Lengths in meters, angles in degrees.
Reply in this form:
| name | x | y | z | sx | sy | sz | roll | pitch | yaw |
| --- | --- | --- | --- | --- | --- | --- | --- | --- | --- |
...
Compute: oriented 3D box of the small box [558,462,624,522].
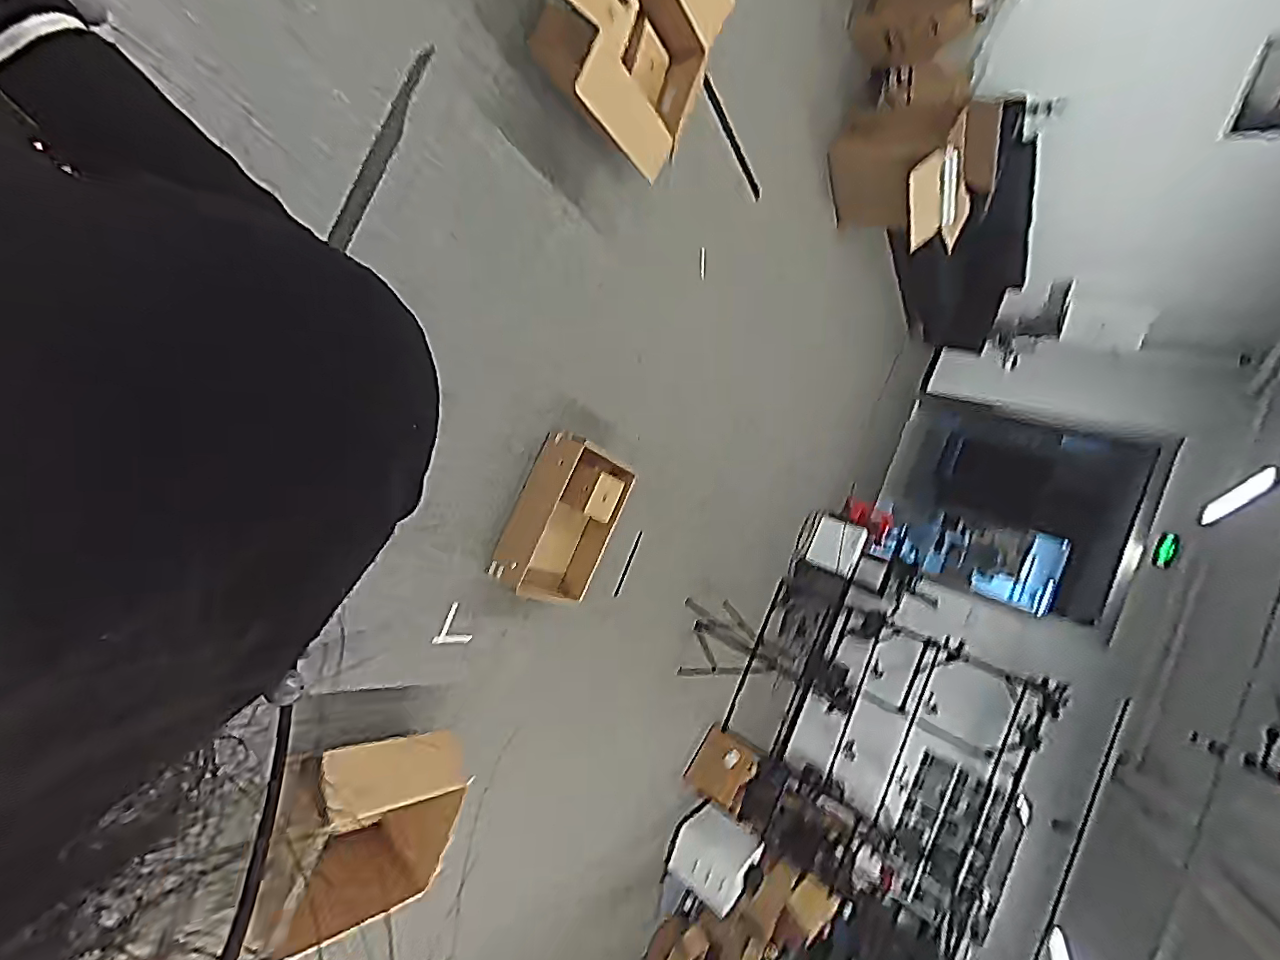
| name | x | y | z | sx | sy | sz | roll | pitch | yaw |
| --- | --- | --- | --- | --- | --- | --- | --- | --- | --- |
| small box | -0.202 | 0.046 | 2.189 | 0.168 | 0.176 | 0.179 | 28 | 85 | -53 |
